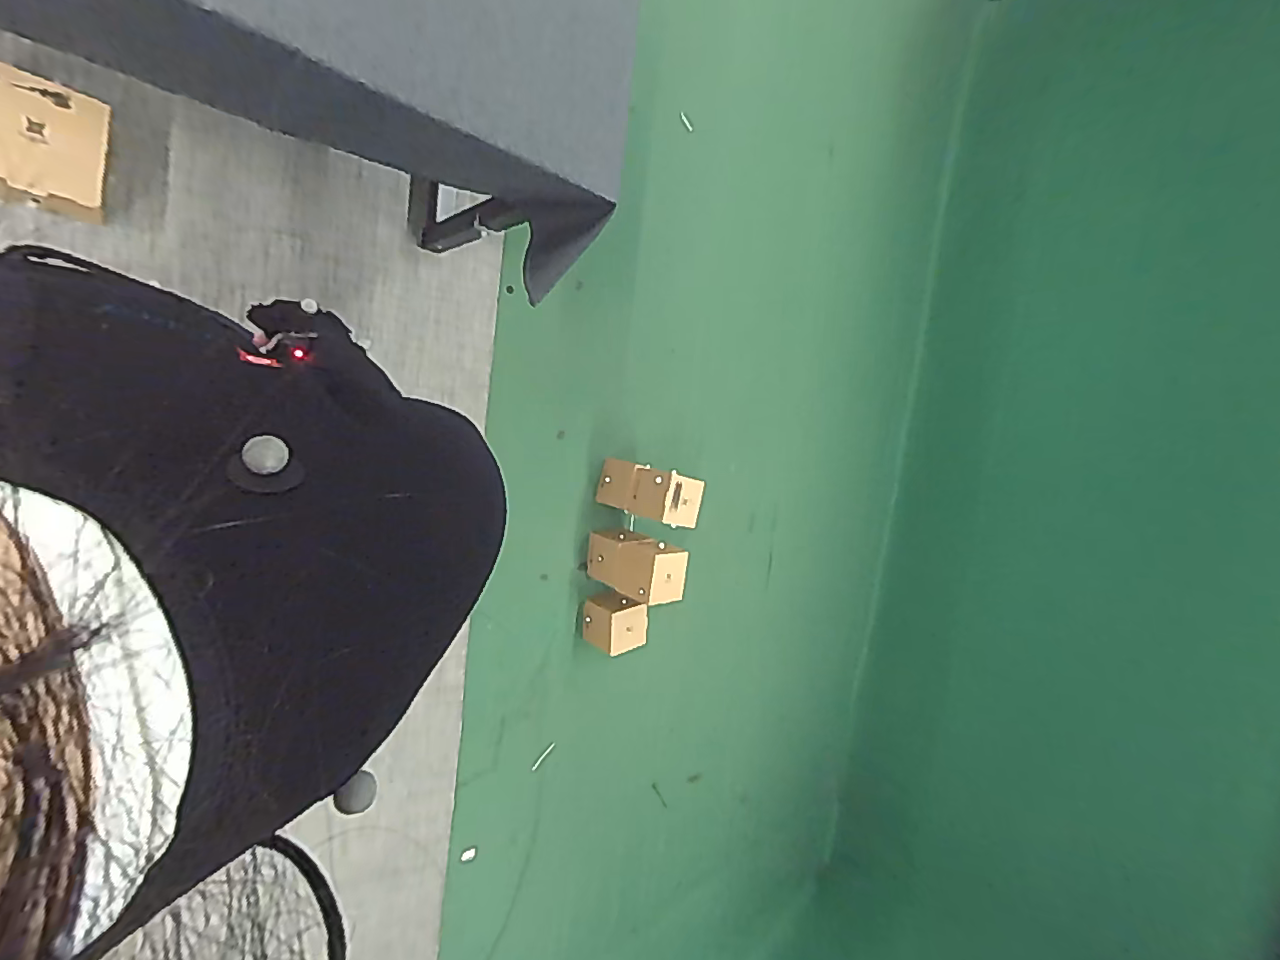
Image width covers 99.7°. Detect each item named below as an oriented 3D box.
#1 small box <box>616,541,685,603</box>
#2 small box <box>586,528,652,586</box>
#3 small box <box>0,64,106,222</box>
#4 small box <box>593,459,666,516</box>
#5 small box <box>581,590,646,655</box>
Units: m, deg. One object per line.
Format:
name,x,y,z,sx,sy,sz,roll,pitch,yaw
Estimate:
small box,0.034,0.311,1.877,0.168,0.176,0.179,2,98,-44
small box,-0.081,0.279,1.988,0.179,0.176,0.168,-2,100,-44
small box,-1.015,-0.556,0.900,0.168,0.176,0.179,6,95,-44
small box,-0.040,0.024,1.974,0.179,0.176,0.168,16,87,-43
small box,-0.100,0.524,2.023,0.179,0.176,0.168,-6,103,-43
